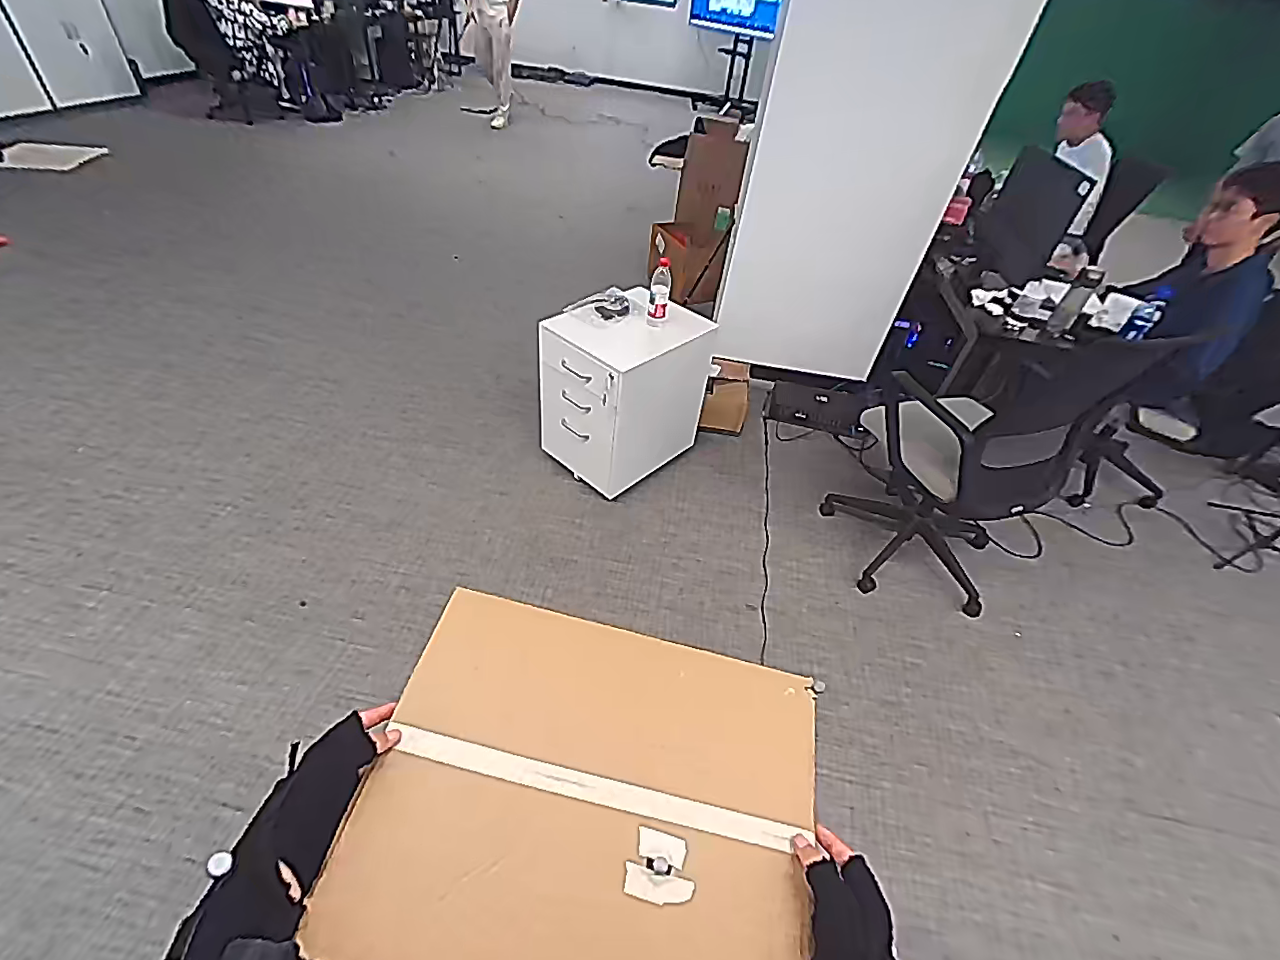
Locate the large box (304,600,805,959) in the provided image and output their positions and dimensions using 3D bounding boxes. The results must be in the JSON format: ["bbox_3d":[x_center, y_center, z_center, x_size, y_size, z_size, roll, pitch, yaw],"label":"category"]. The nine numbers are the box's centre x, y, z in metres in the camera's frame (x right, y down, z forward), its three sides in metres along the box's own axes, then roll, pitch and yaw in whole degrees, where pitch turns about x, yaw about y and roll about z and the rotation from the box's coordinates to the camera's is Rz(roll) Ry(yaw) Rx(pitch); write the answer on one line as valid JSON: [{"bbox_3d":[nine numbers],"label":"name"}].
[{"bbox_3d":[-0.063,0.386,0.620,0.408,0.320,0.320,15,51,2],"label":"large box"}]
